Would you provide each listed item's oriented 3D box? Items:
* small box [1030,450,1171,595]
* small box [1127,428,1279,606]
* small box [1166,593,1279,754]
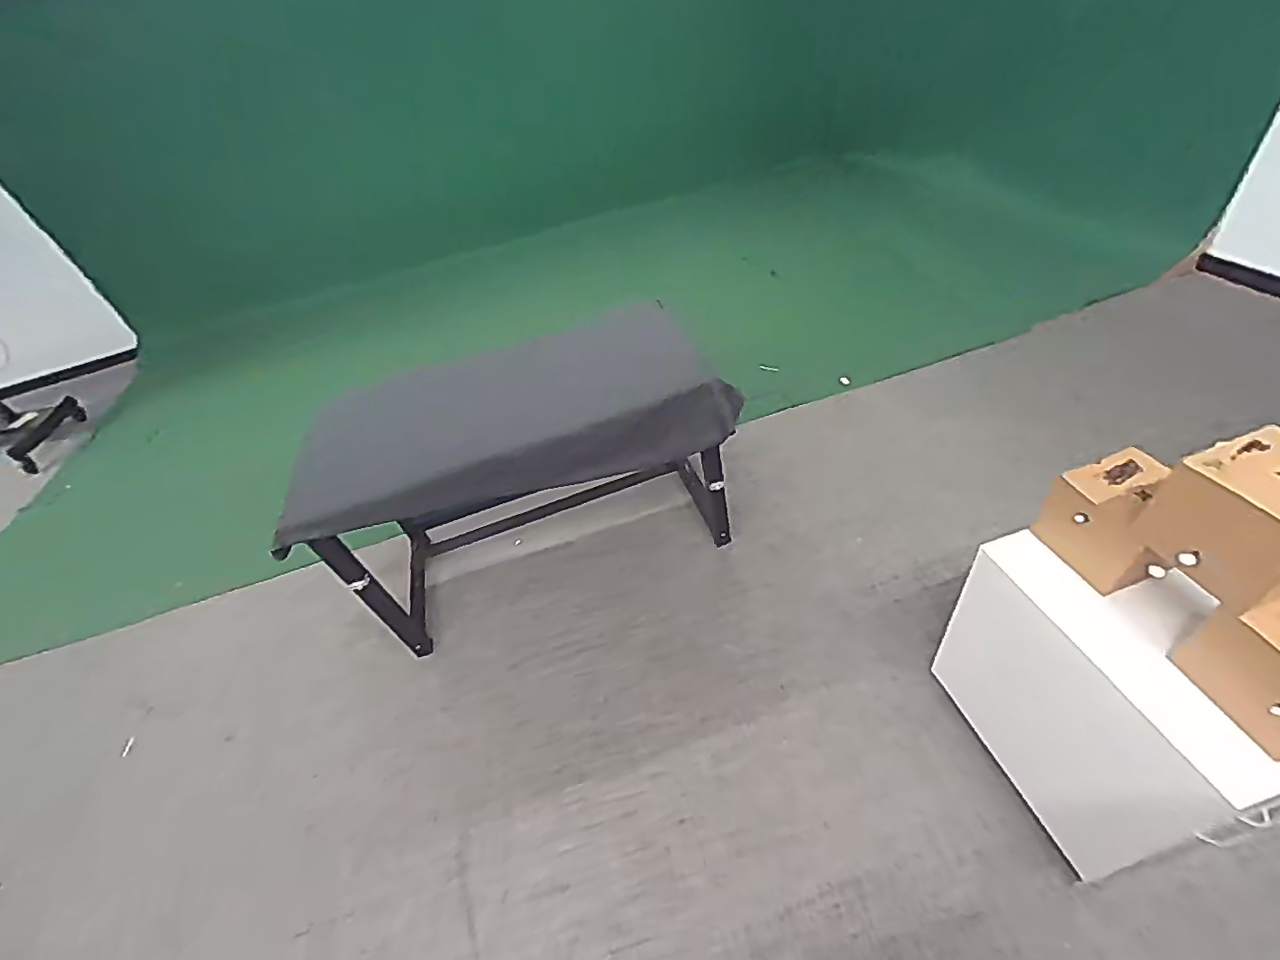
[{"bbox_3d":[0.877,0.079,1.001,0.168,0.176,0.179,-19,46,-5],"label":"small box"},{"bbox_3d":[0.885,0.060,0.784,0.168,0.176,0.179,-19,45,-6],"label":"small box"},{"bbox_3d":[0.949,0.275,0.787,0.168,0.176,0.179,-16,42,-4],"label":"small box"}]
